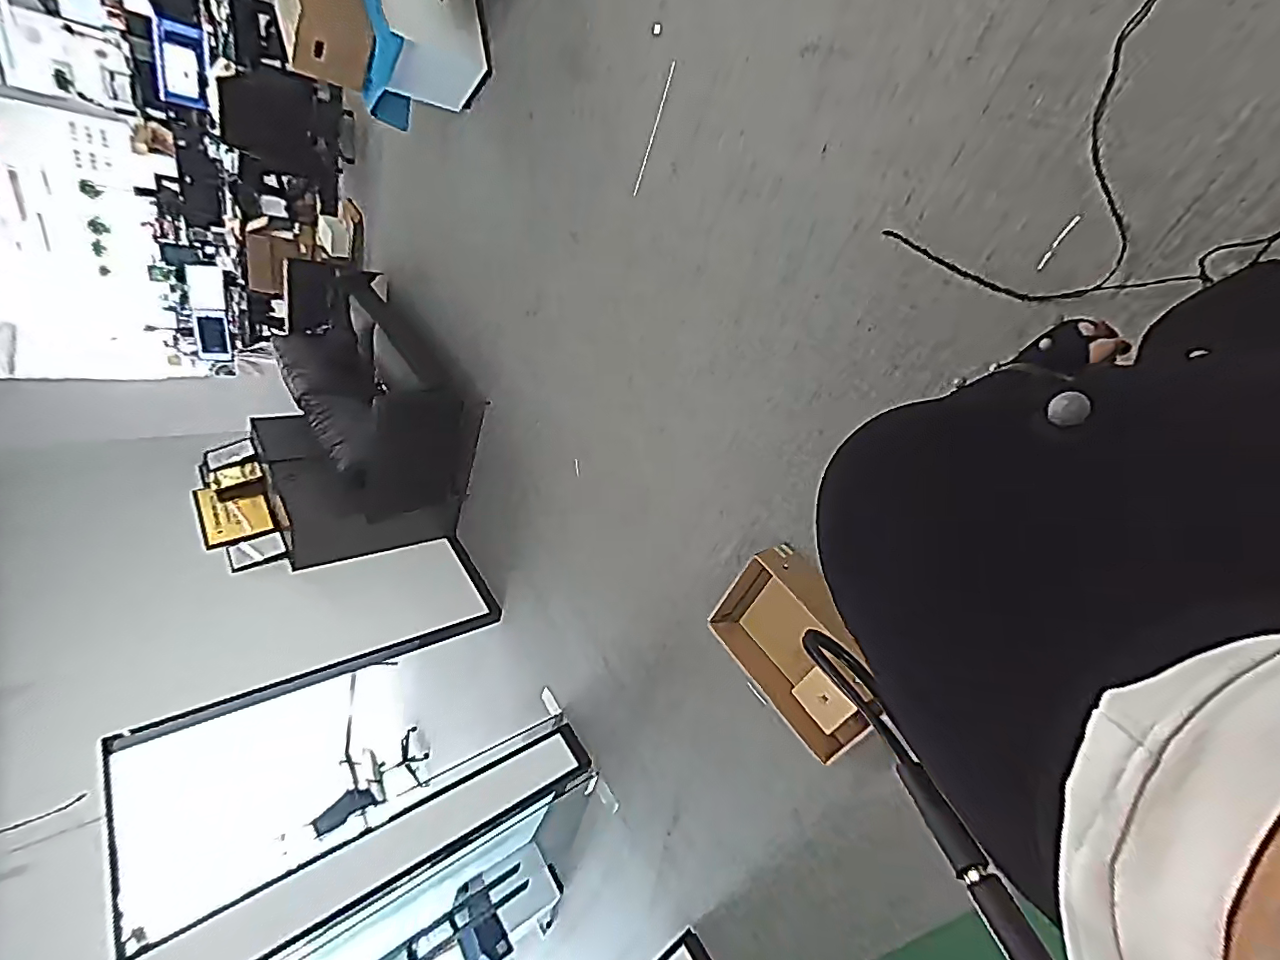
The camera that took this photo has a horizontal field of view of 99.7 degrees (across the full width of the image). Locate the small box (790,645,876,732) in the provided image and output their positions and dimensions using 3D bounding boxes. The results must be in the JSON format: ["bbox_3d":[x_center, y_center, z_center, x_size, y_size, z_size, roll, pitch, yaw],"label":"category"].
[{"bbox_3d":[0.626,0.664,1.739,0.168,0.176,0.179,49,132,30],"label":"small box"}]
